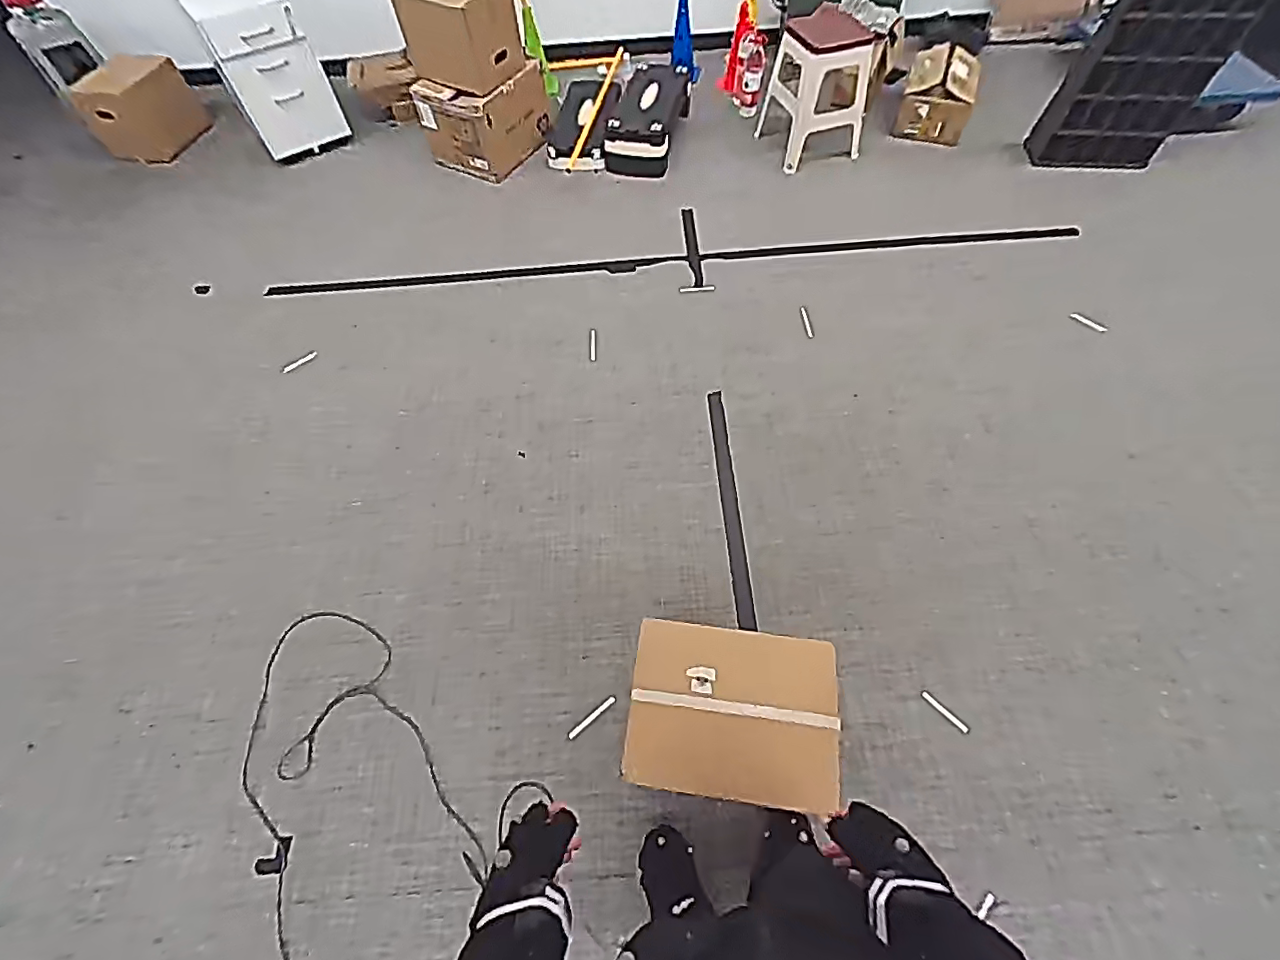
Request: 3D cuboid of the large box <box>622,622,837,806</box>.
[{"bbox_3d":[0.185,0.516,1.202,0.408,0.320,0.320,4,62,5],"label":"large box"}]
